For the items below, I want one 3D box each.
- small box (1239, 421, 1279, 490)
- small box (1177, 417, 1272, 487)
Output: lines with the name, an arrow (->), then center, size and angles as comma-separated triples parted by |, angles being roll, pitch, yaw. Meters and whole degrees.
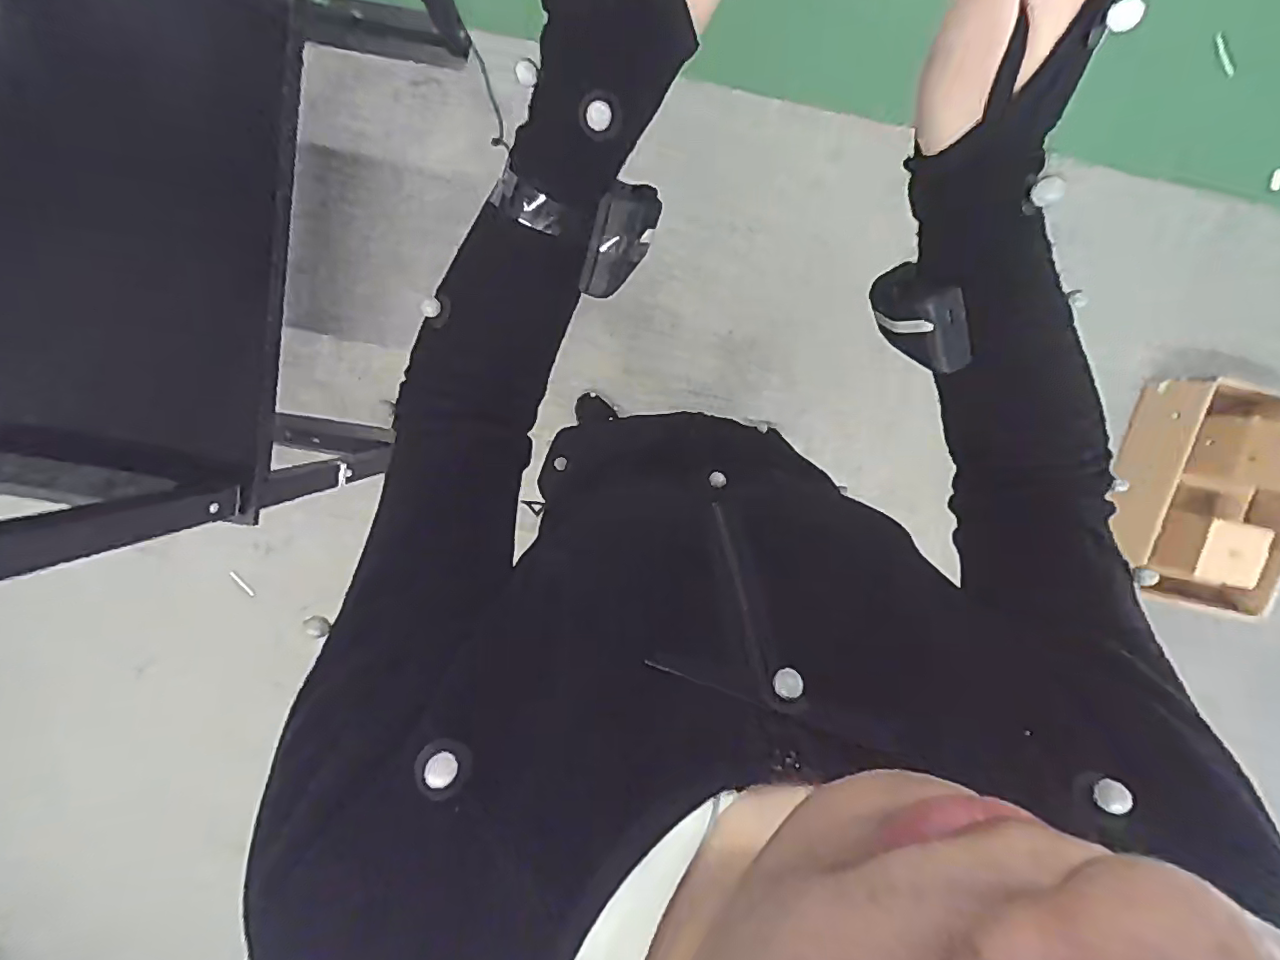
small box -> 1.652, -0.049, 1.323 | 0.179, 0.176, 0.168 | 11, 98, -2
small box -> 1.653, -0.077, 1.483 | 0.179, 0.176, 0.168 | 12, 99, -2
